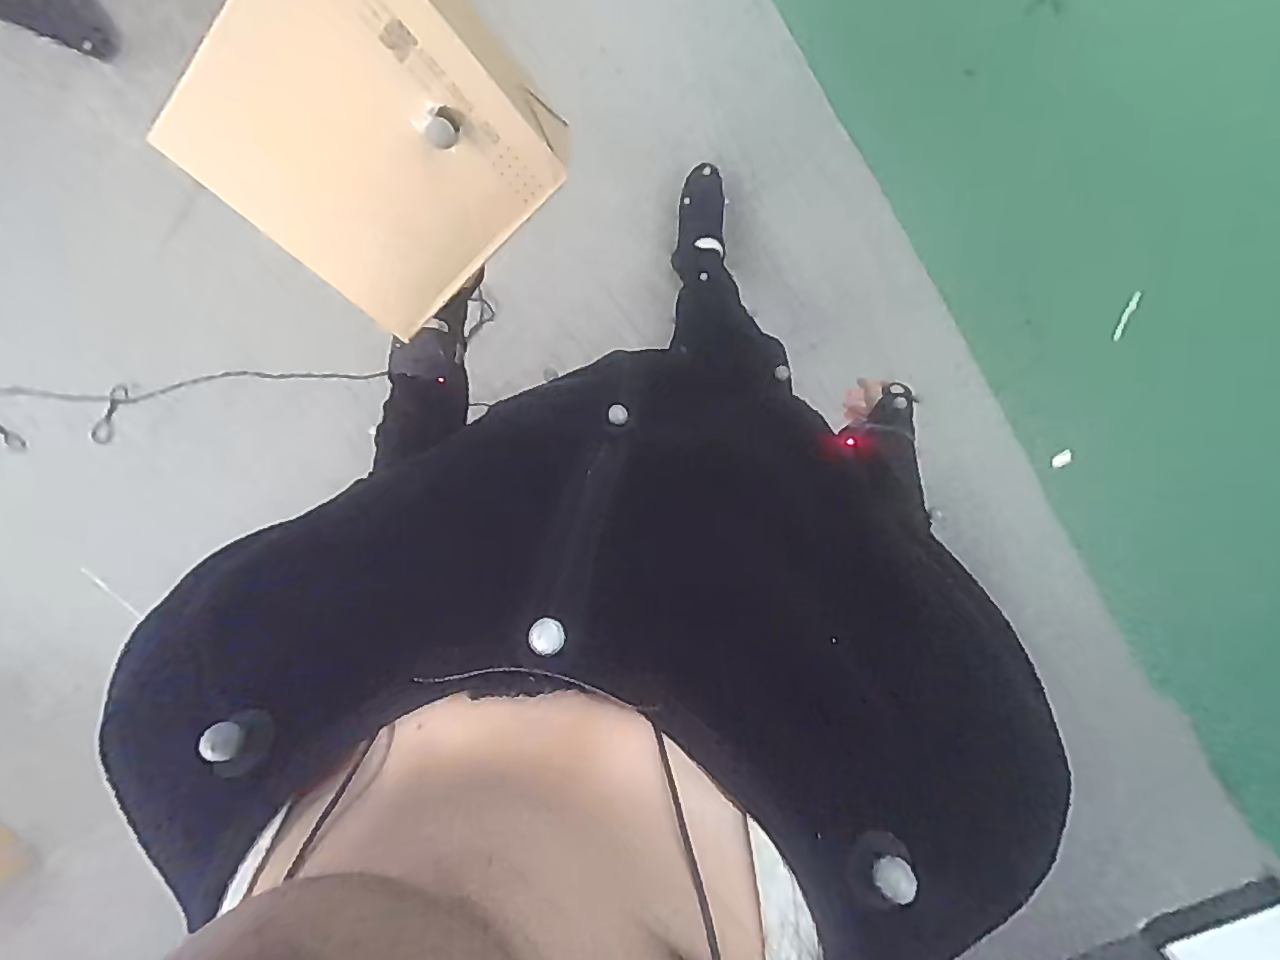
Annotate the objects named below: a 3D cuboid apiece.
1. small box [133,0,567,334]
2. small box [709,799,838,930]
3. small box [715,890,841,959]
[{"bbox_3d":[-0.163,-0.241,0.363,0.176,0.179,0.168,-35,127,21],"label":"small box"},{"bbox_3d":[0.251,0.783,1.068,0.179,0.176,0.168,-41,103,12],"label":"small box"},{"bbox_3d":[0.244,0.842,0.917,0.168,0.176,0.179,-33,105,10],"label":"small box"}]
